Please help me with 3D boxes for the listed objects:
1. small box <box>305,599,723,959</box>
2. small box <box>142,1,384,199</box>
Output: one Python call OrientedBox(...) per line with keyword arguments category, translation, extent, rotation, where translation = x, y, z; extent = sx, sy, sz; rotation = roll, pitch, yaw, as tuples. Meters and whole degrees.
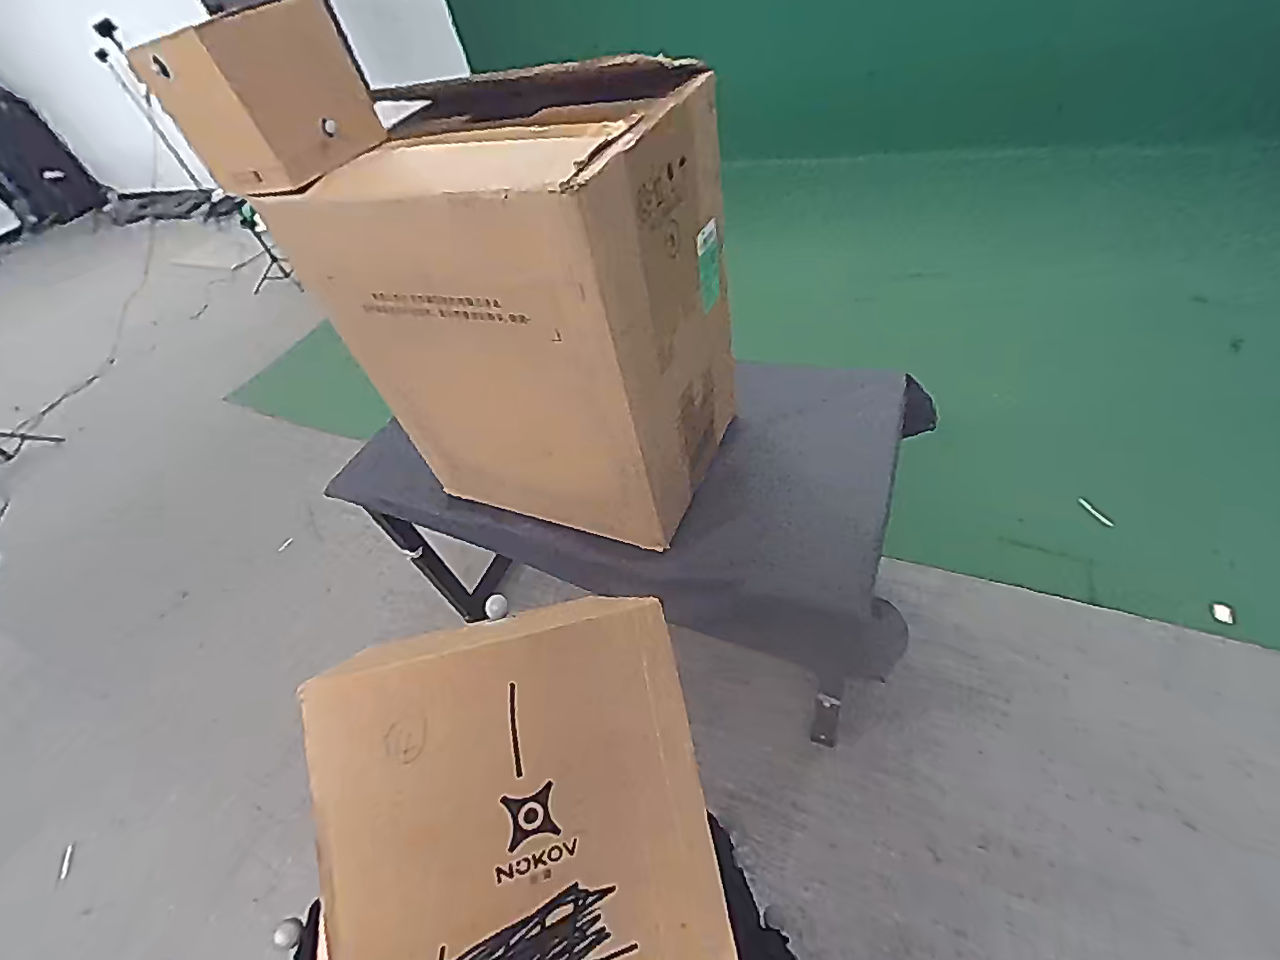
OrientedBox(category="small box", translation=(-0.075, 0.171, 0.319), extent=(0.168, 0.176, 0.179), rotation=(-9, 80, -19))
OrientedBox(category="small box", translation=(-0.475, -0.494, 0.716), extent=(0.168, 0.176, 0.179), rotation=(12, 52, 28))
